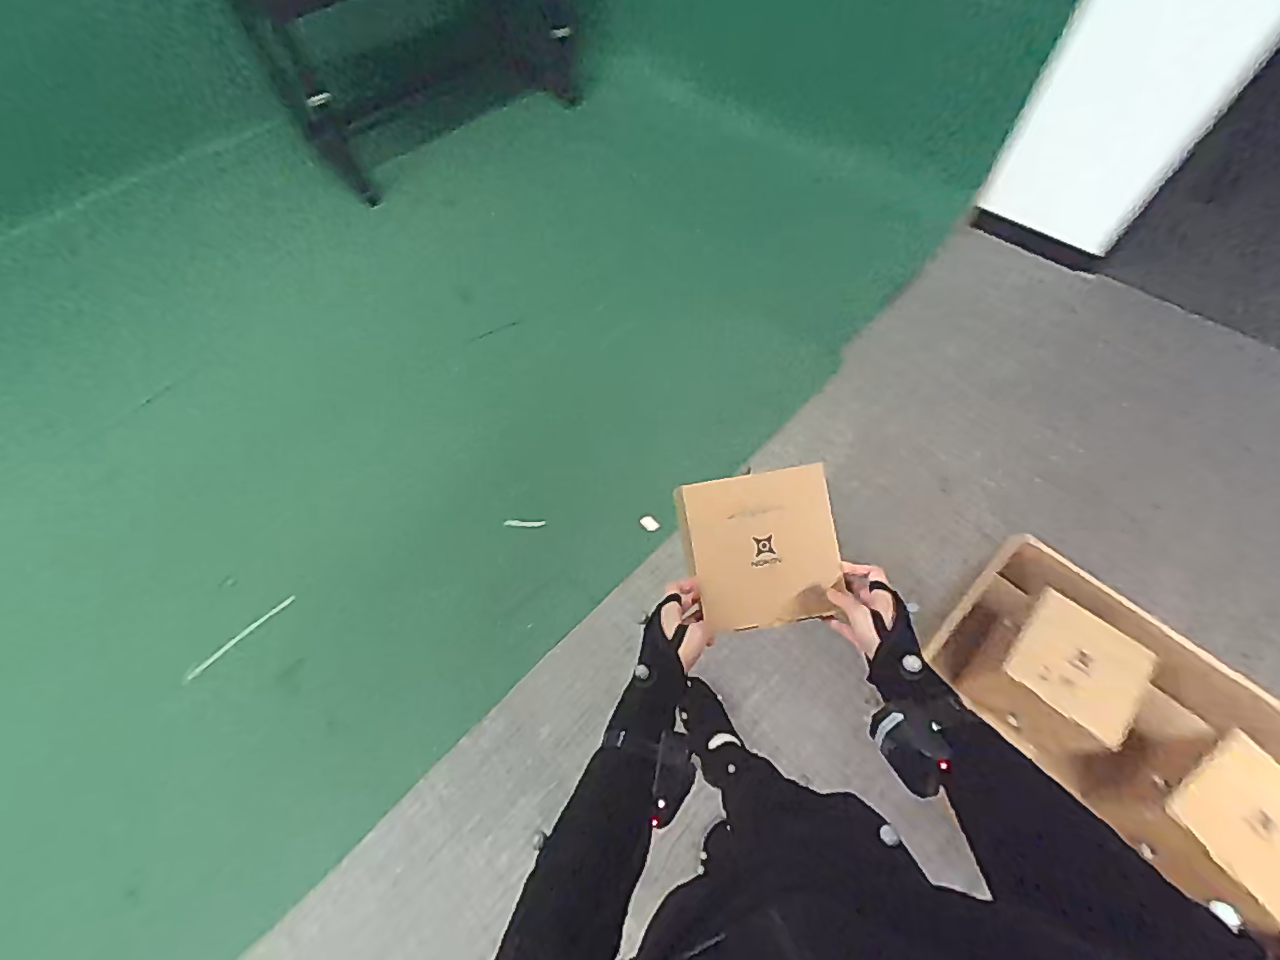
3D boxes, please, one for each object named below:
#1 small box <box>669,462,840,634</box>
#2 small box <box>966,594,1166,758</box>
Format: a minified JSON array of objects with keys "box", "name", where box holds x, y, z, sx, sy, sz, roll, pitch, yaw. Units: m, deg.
[{"box":[0.133,0.079,0.688,0.168,0.176,0.179,-10,88,-1],"name":"small box"},{"box":[0.674,0.322,0.879,0.168,0.176,0.179,39,70,22],"name":"small box"}]
